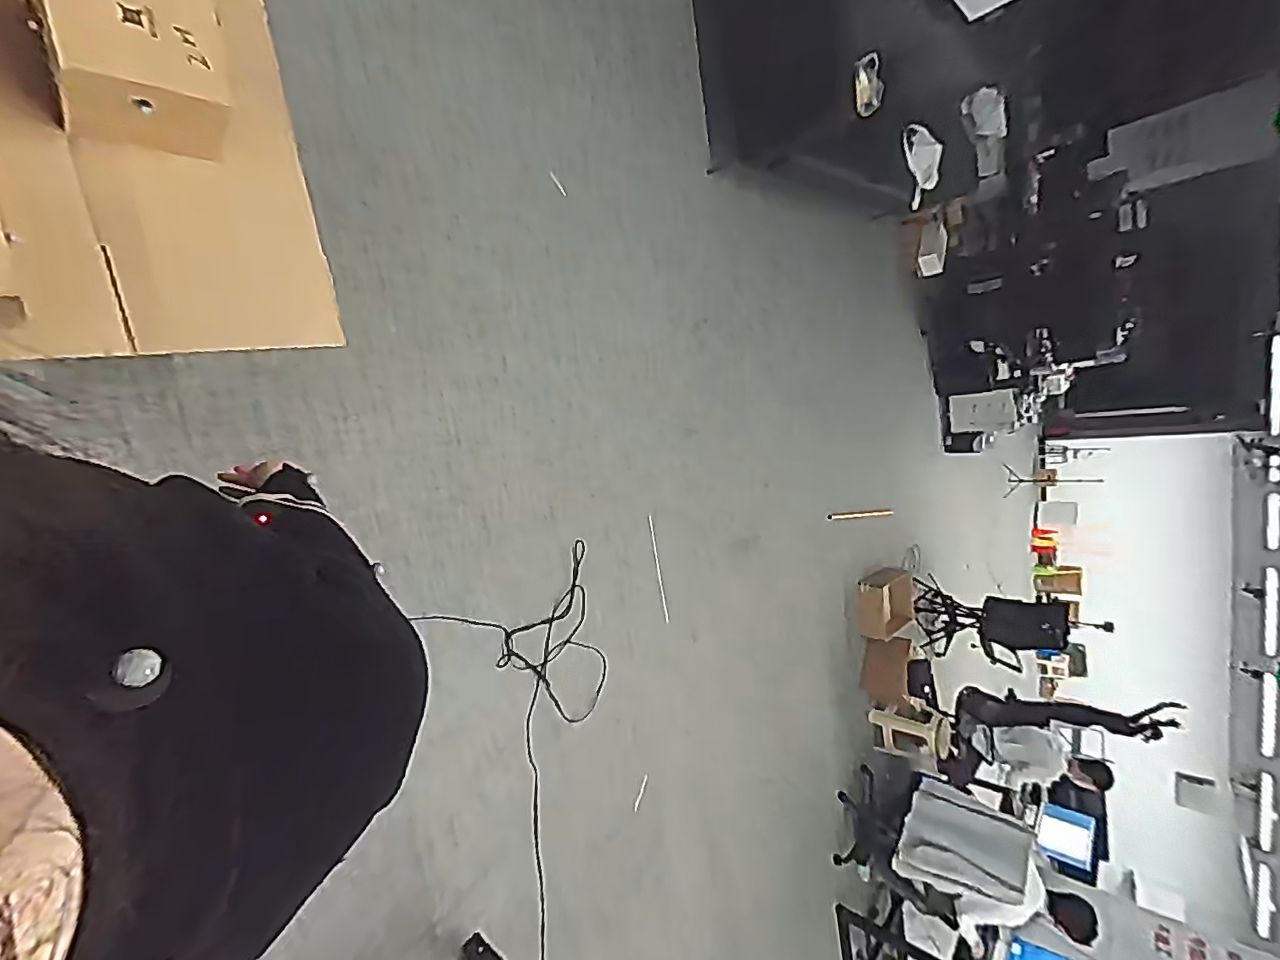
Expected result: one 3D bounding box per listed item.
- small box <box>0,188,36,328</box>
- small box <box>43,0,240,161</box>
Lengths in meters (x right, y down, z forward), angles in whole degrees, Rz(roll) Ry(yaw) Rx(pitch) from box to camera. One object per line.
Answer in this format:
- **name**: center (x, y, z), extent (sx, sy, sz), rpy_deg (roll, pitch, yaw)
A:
- **small box**: center (-0.810, -0.269, 0.595), extent (0.168, 0.176, 0.179), rpy_deg (-16, 100, -45)
- **small box**: center (-0.679, -0.569, 0.740), extent (0.179, 0.176, 0.168), rpy_deg (-14, 99, -44)
